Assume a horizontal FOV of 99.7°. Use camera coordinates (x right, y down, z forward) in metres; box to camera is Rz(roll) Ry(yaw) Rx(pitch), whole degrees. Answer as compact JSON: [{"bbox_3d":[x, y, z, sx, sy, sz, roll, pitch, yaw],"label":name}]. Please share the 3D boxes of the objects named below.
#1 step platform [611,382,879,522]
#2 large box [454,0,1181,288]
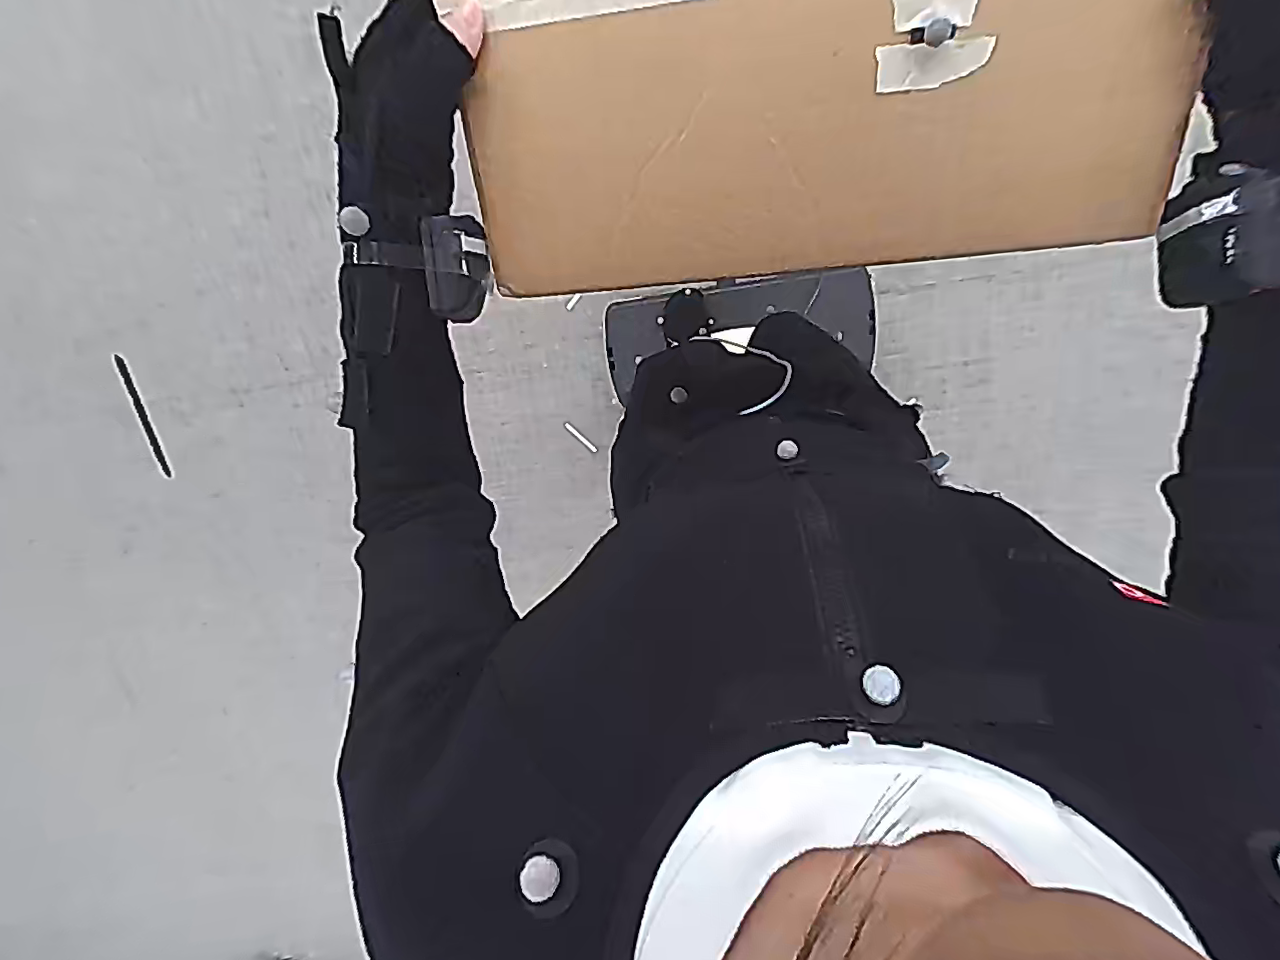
[{"bbox_3d":[0.265,-0.069,1.439,0.684,0.204,0.286,-6,106,10],"label":"step platform"},{"bbox_3d":[0.100,-0.351,0.428,0.408,0.320,0.320,-3,116,8],"label":"large box"}]
